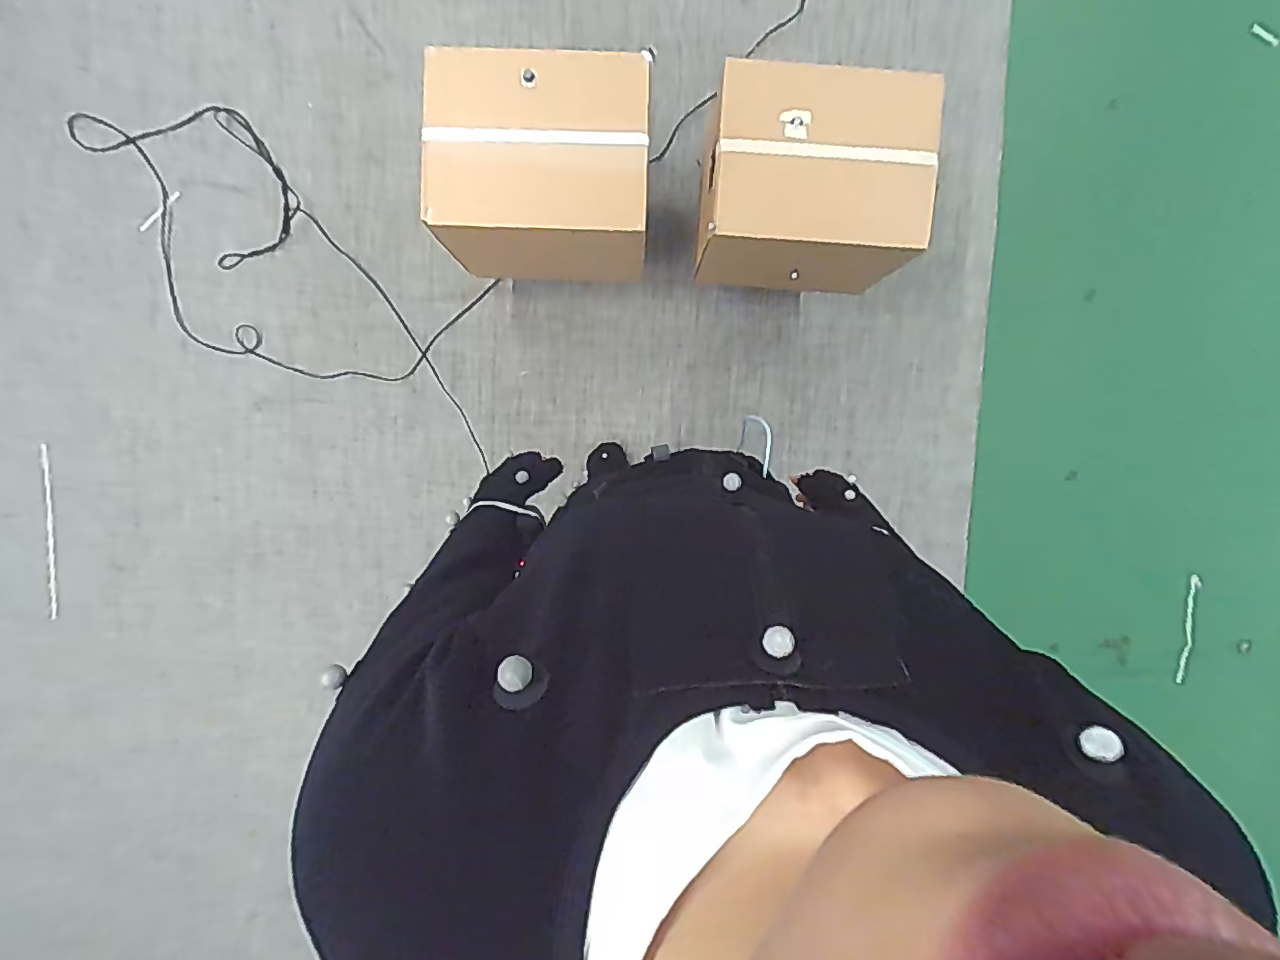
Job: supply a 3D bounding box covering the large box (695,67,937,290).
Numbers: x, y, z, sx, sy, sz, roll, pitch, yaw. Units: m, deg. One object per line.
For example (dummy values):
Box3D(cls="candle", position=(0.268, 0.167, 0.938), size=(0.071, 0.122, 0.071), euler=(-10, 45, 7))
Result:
Box3D(cls="large box", position=(0.342, -0.606, 1.150), size=(0.408, 0.320, 0.320), euler=(4, 94, -1))
